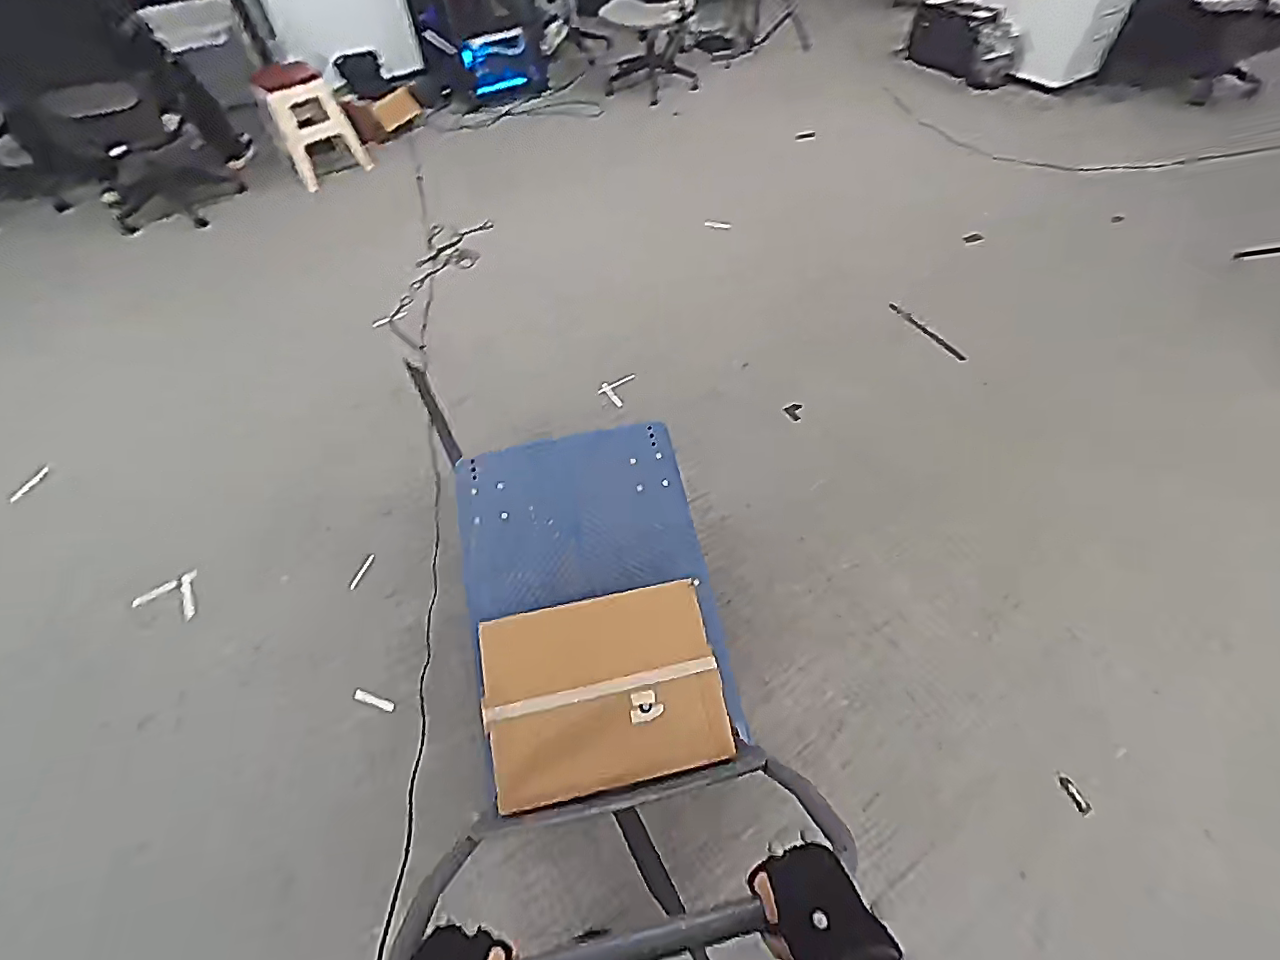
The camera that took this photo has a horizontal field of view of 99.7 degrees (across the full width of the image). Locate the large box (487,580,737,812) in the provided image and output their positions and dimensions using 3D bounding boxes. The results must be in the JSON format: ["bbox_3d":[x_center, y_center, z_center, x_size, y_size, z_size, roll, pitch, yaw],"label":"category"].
[{"bbox_3d":[-0.064,0.428,1.104,0.408,0.320,0.320,-11,69,-7],"label":"large box"}]
